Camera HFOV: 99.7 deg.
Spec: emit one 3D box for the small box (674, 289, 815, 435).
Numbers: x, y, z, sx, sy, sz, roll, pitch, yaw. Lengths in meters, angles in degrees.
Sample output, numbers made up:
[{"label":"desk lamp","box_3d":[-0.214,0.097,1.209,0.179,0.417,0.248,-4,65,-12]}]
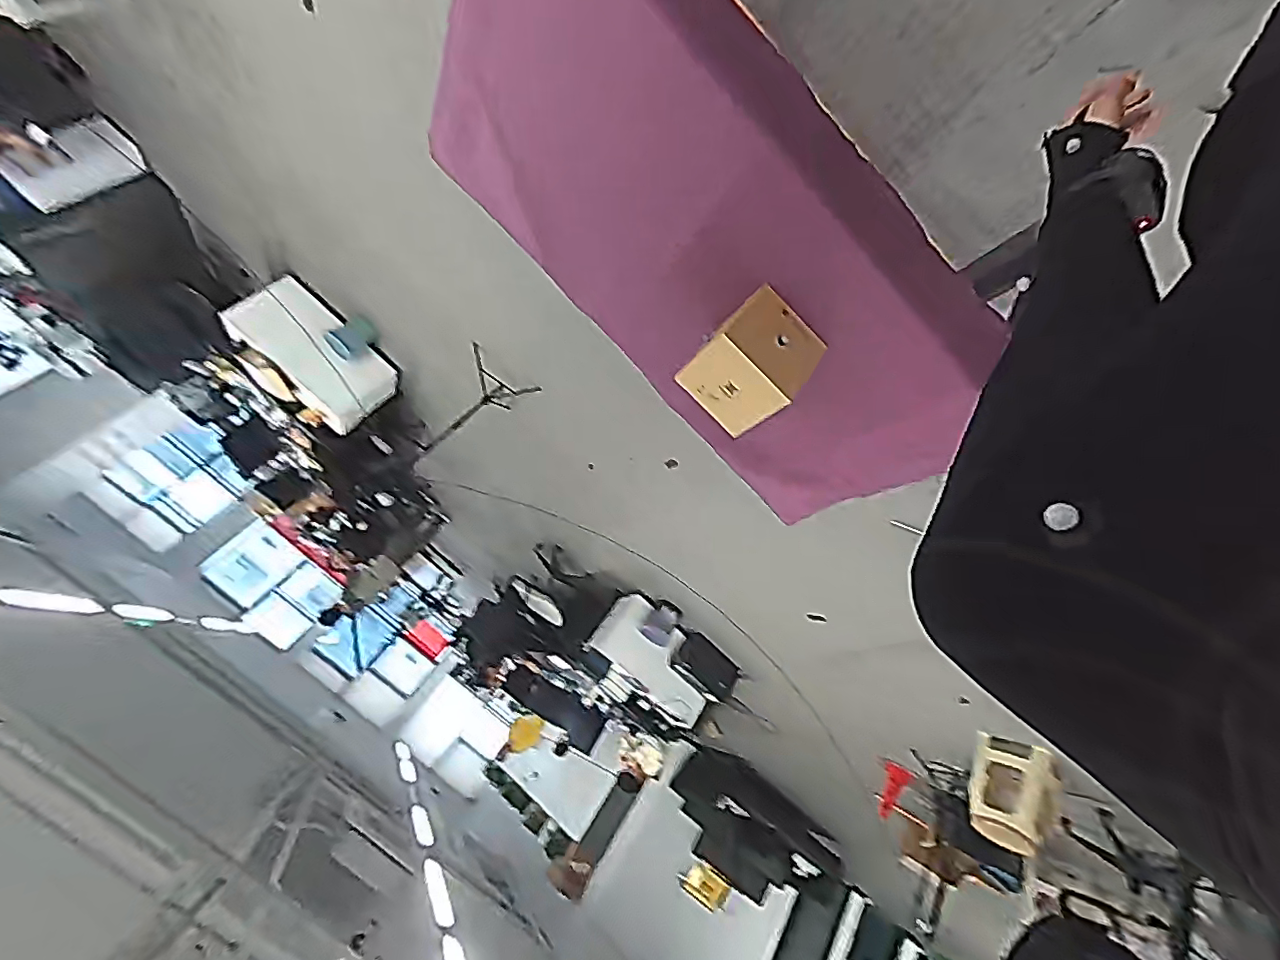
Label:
[{"label":"small box","box_3d":[0.201,-0.219,1.012,0.168,0.176,0.179,44,152,-7]}]
